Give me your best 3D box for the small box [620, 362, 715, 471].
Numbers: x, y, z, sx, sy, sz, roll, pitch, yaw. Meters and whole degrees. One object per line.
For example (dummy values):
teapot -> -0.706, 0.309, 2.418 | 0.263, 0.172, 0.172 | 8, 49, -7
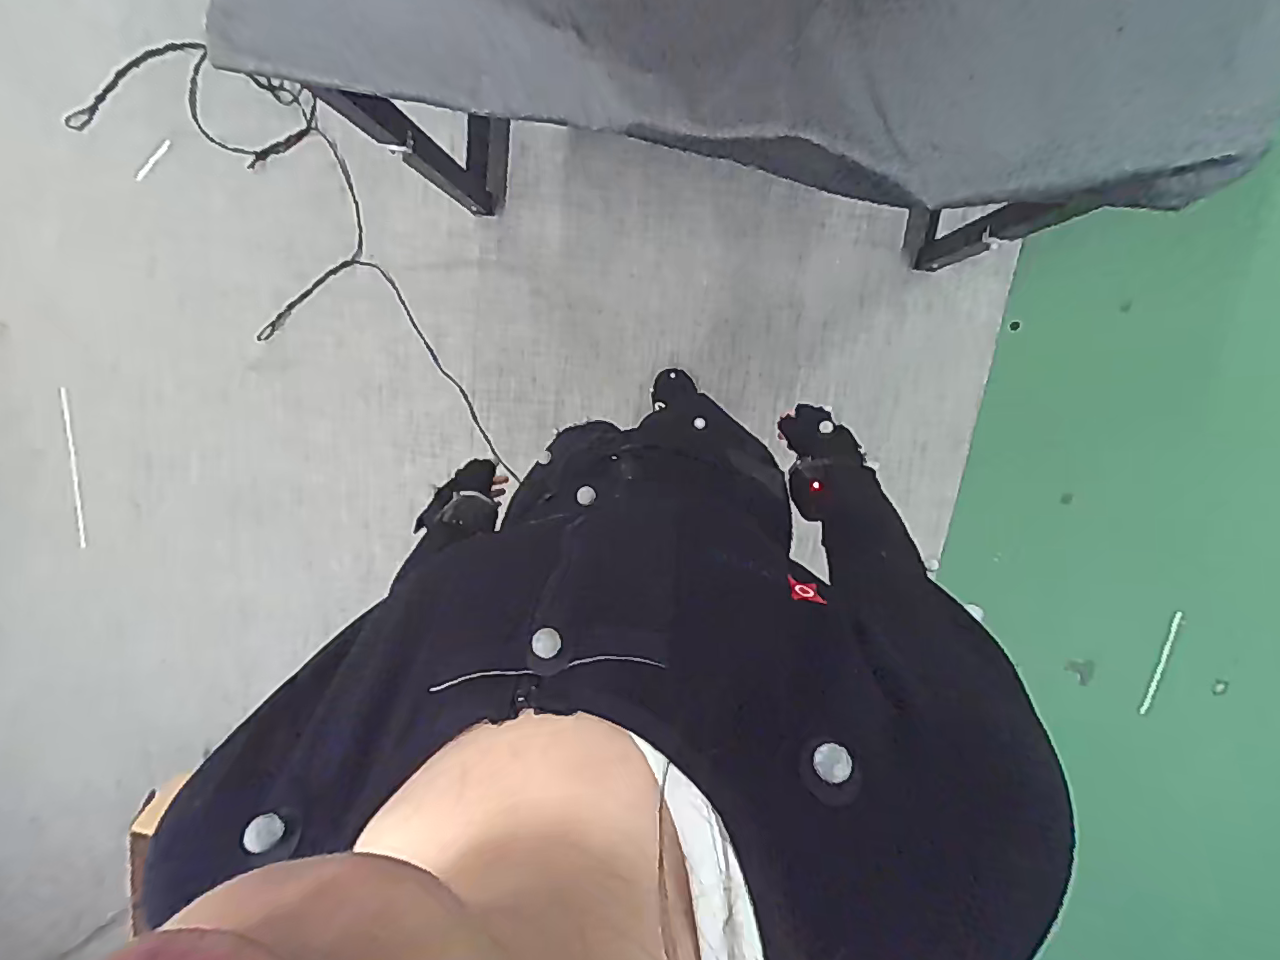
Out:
small box -> 0.071, -0.158, 1.376 | 0.179, 0.176, 0.168 | -43, 68, -12
